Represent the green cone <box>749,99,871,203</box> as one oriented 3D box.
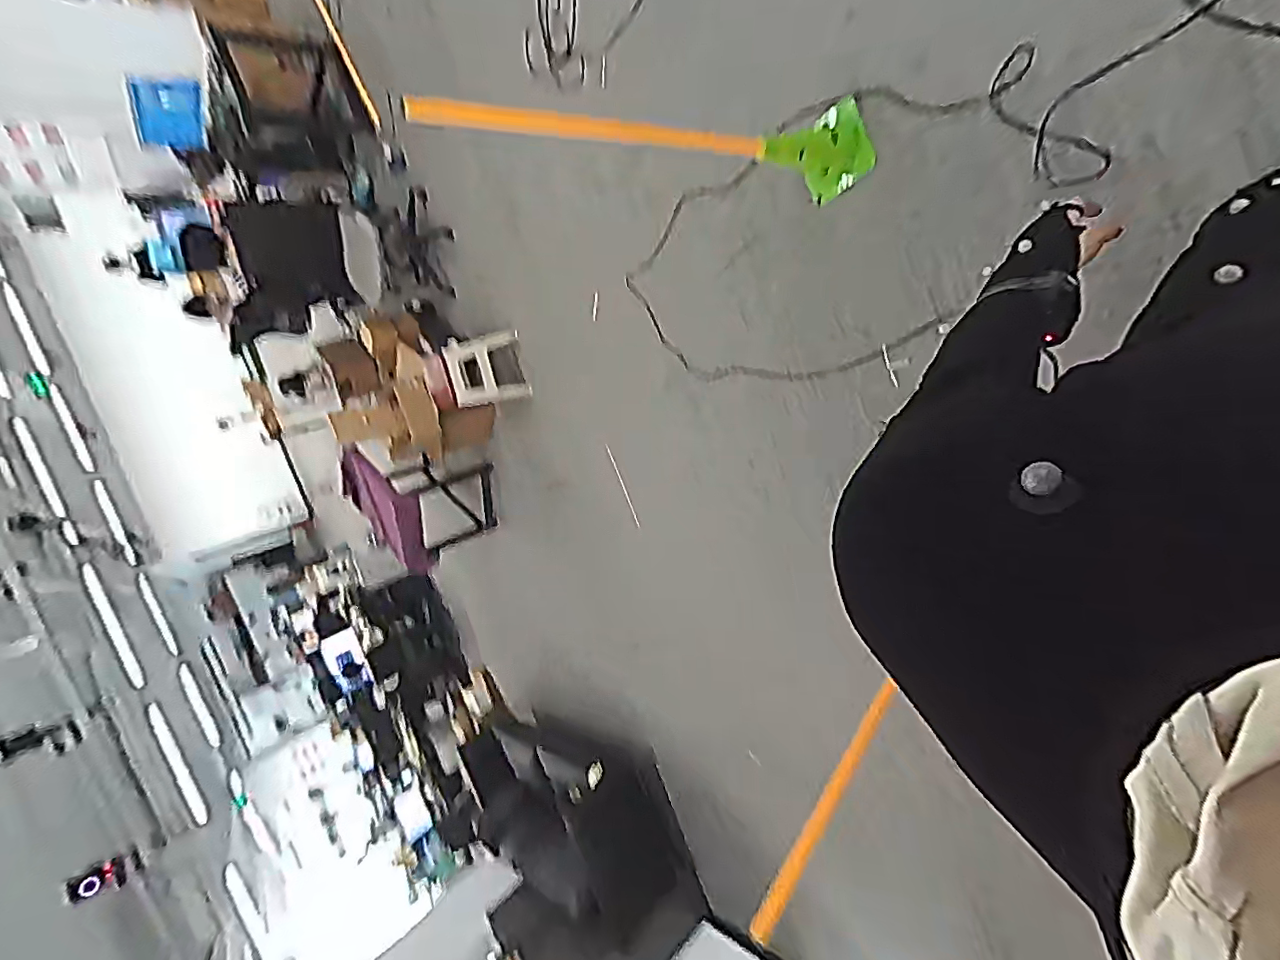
[{"bbox_3d":[0.422,-0.887,1.448,0.200,0.368,0.202,-21,91,53],"label":"green cone"}]
